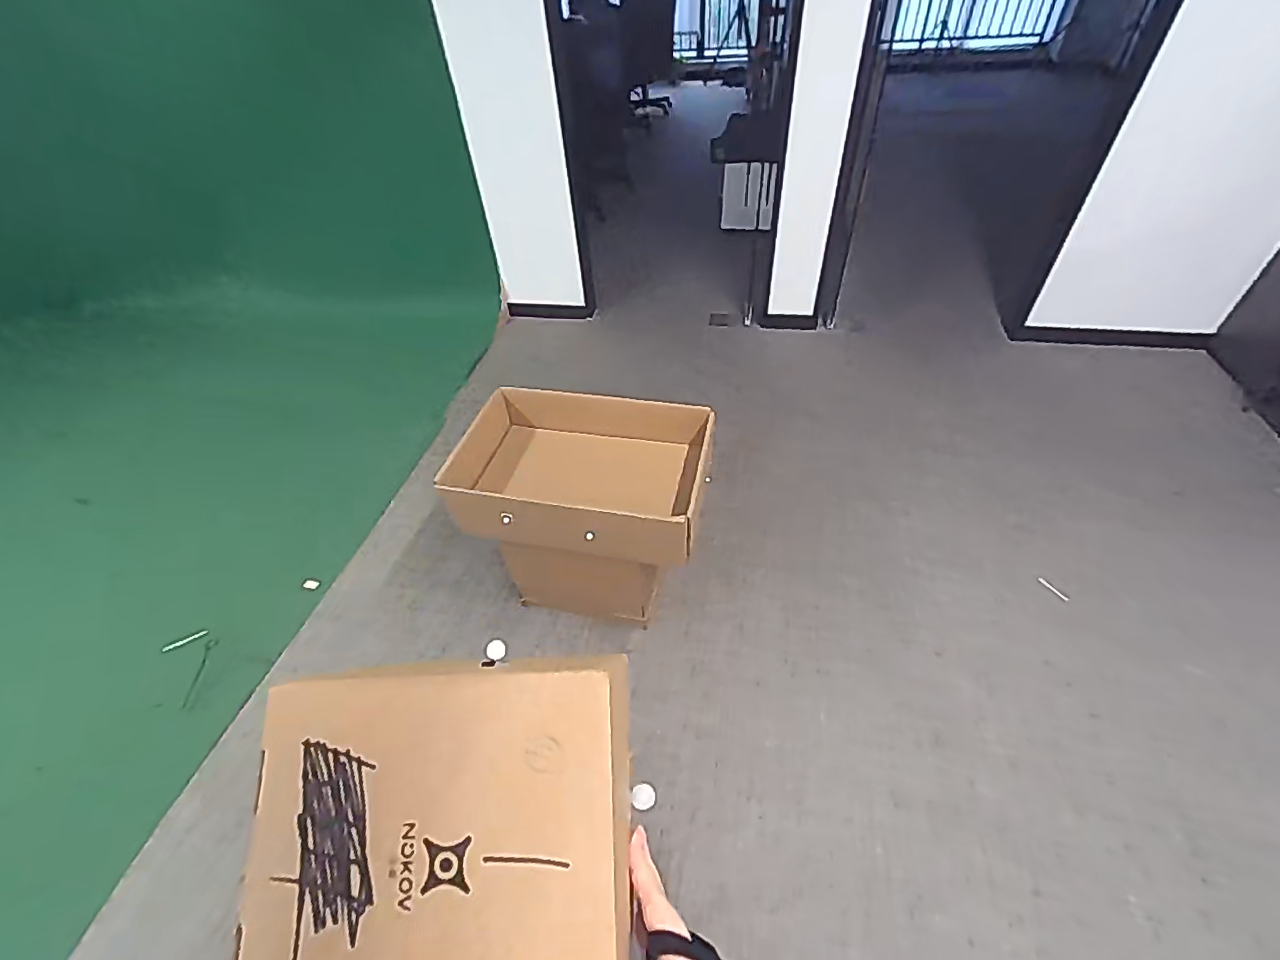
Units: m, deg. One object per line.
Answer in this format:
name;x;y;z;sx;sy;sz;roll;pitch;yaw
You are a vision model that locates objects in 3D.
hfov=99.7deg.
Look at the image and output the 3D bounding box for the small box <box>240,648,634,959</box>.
small box;-0.097;0.194;0.339;0.179;0.176;0.168;-3;74;1
